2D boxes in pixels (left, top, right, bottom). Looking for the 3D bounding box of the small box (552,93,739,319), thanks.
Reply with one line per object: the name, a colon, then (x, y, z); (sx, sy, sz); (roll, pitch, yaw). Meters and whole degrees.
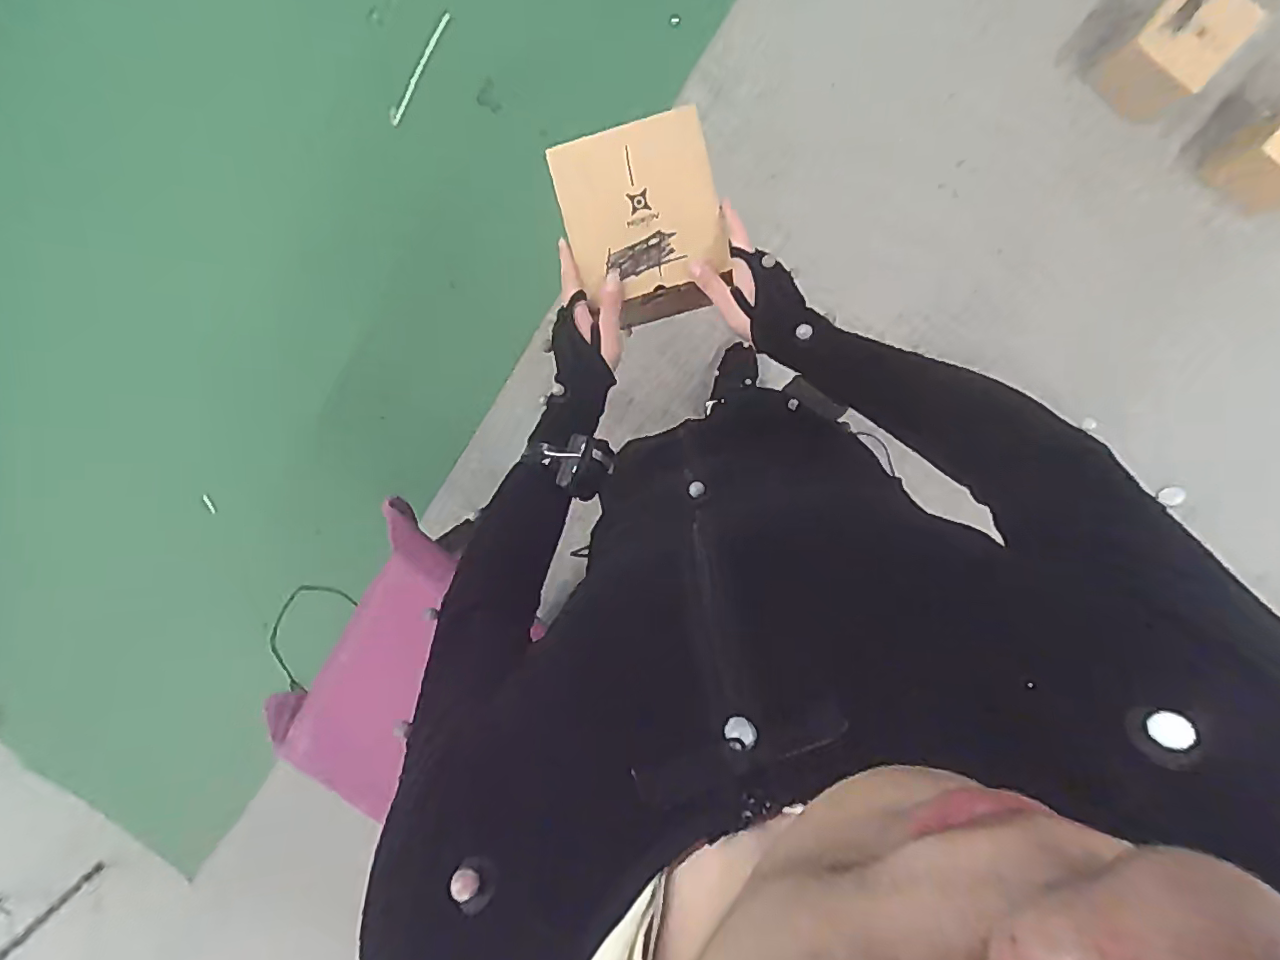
small box: (0.012, -0.299, 0.639); (0.168, 0.176, 0.179); (-14, 96, 5)
